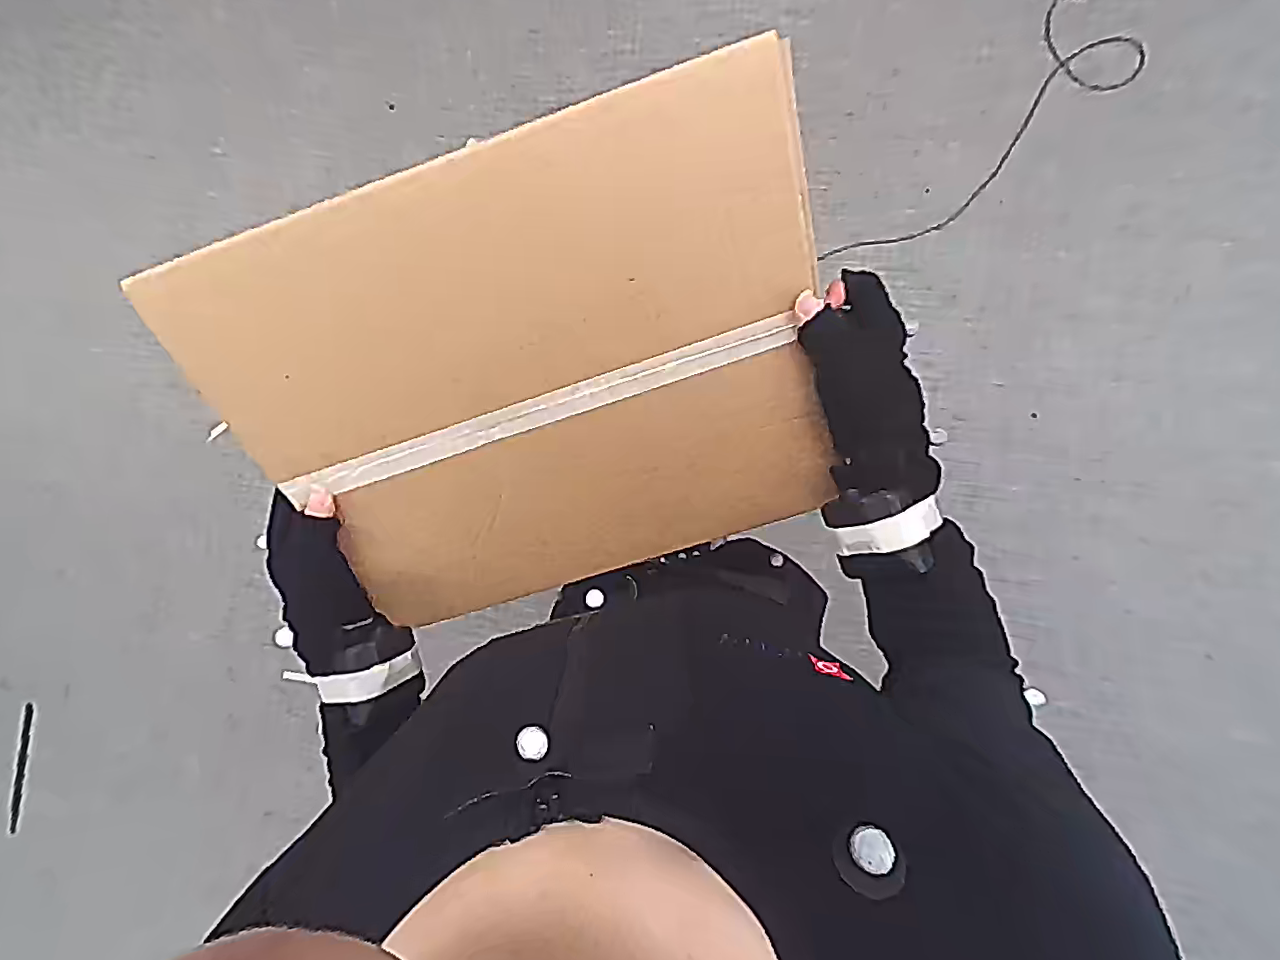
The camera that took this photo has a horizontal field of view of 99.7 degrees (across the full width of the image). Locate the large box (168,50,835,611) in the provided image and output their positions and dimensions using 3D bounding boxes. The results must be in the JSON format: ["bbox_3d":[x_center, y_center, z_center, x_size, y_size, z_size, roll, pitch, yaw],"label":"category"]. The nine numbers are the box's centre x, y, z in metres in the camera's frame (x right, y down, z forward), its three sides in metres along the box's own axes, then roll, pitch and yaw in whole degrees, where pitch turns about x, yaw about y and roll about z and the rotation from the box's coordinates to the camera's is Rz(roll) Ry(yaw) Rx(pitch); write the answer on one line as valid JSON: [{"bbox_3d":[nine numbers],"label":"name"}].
[{"bbox_3d":[-0.078,-0.137,0.523,0.408,0.320,0.320,-17,121,6],"label":"large box"}]
